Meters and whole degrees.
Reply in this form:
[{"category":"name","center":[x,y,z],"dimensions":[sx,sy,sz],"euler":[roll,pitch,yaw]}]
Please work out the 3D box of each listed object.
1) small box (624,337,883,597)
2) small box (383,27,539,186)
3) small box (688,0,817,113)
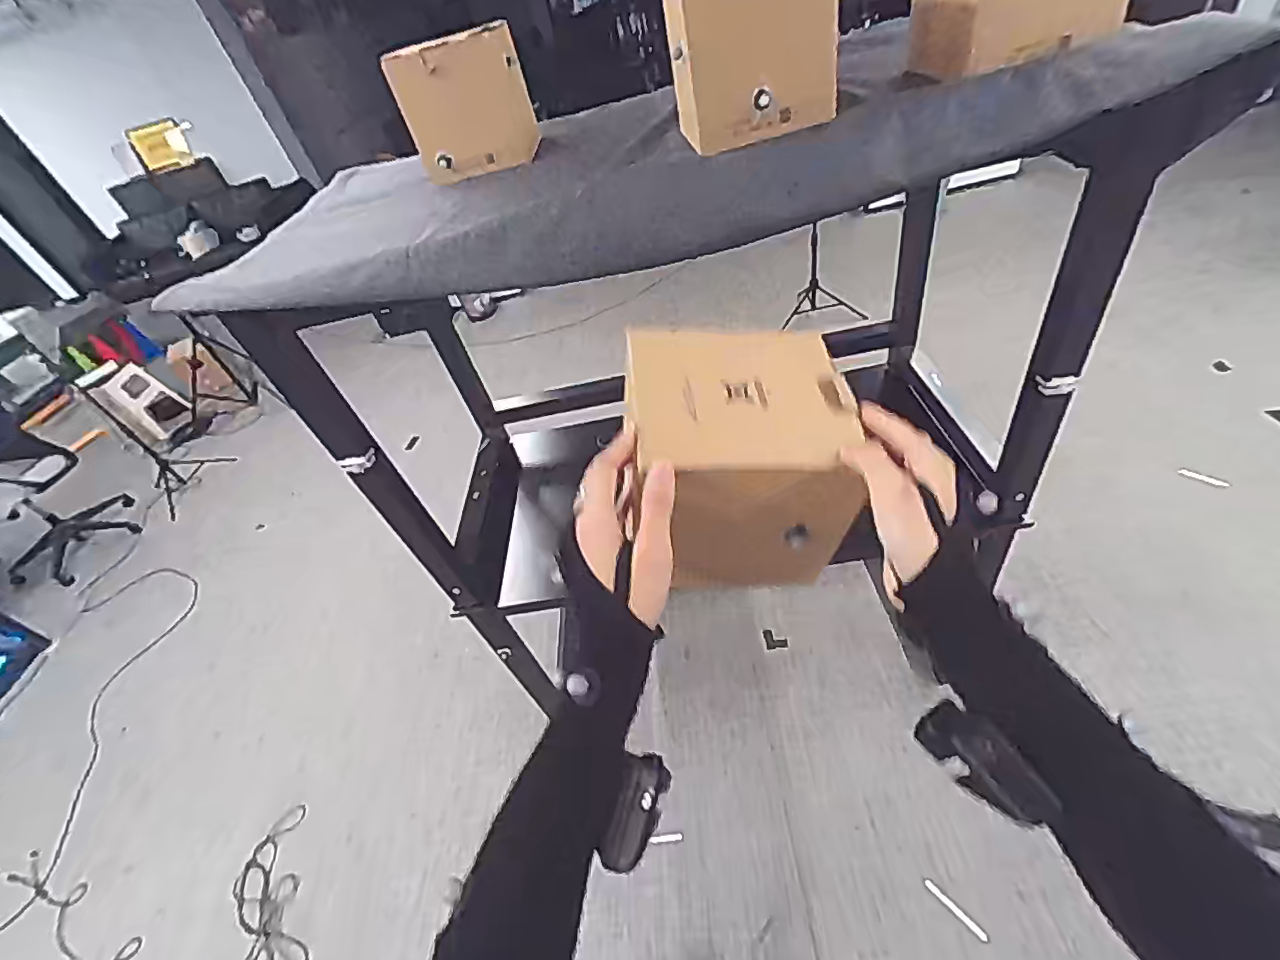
[{"category":"small box","center":[0.079,-0.007,0.486],"dimensions":[0.179,0.176,0.168],"euler":[1,48,-5]},{"category":"small box","center":[-0.271,-0.595,0.870],"dimensions":[0.168,0.176,0.179],"euler":[-10,42,7]},{"category":"small box","center":[0.165,-0.681,0.820],"dimensions":[0.168,0.176,0.179],"euler":[-10,42,8]}]
